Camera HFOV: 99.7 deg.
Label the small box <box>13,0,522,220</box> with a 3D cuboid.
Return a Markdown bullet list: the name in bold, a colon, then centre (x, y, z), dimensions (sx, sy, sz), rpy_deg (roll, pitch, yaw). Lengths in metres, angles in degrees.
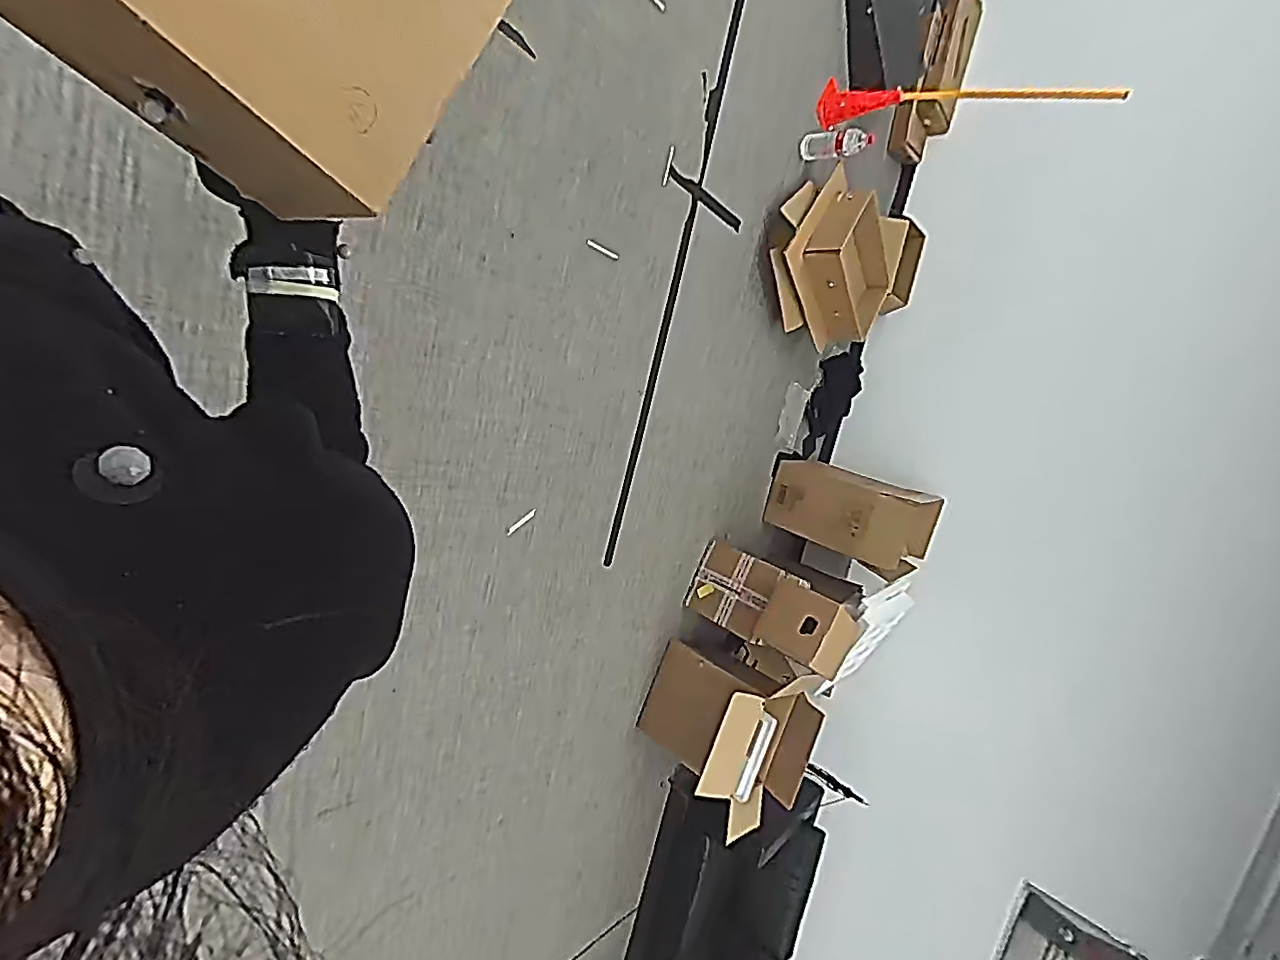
- **small box**: centre (-0.209, -0.275, 0.308), dimensions (0.168, 0.176, 0.179), rpy_deg (36, 78, -52)
